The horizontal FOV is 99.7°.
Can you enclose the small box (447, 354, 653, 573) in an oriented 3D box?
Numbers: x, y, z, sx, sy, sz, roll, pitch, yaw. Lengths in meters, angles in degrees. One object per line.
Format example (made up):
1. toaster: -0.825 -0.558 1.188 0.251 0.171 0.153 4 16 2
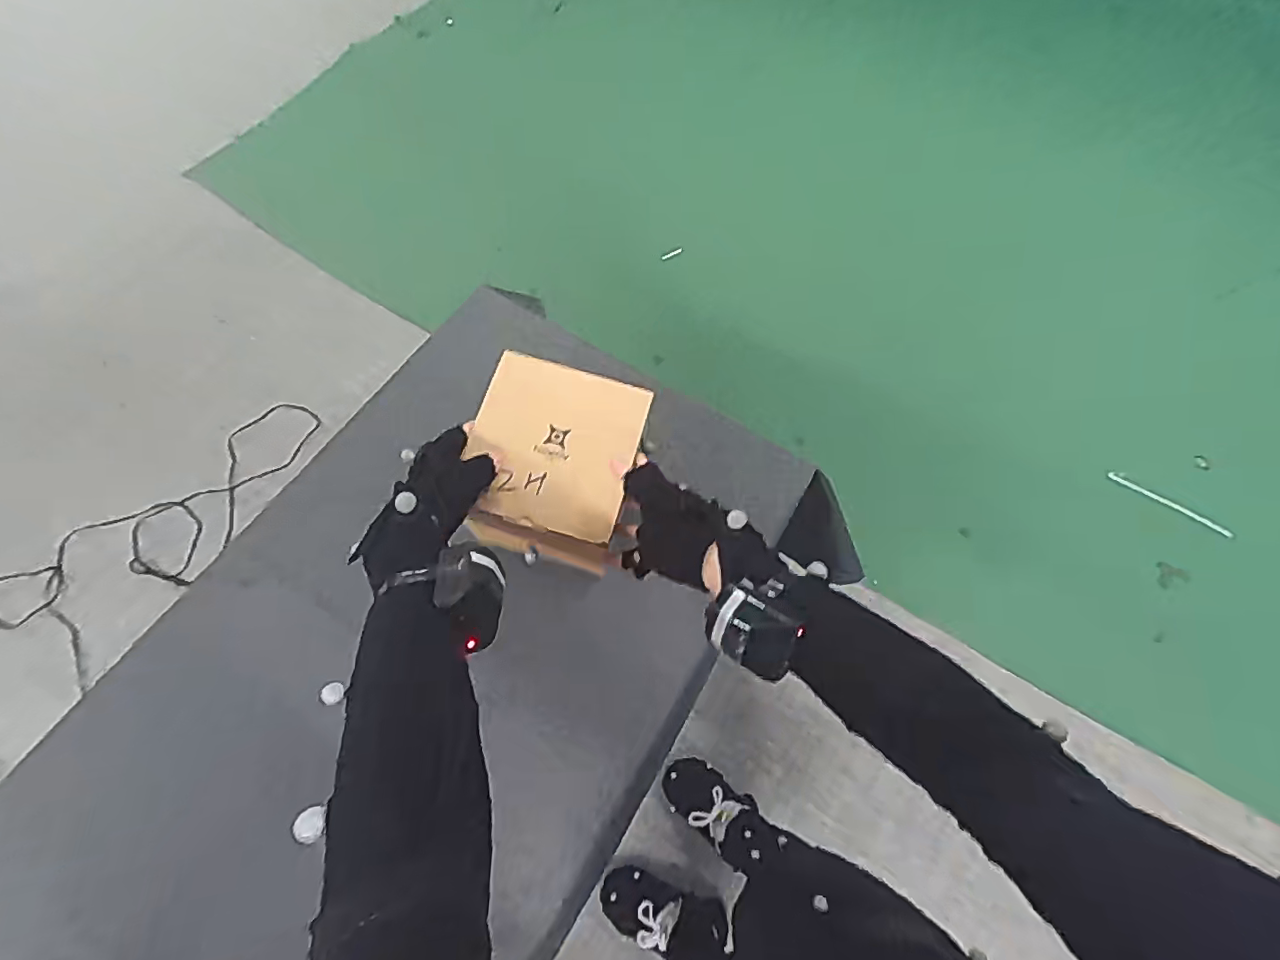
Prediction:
1. small box: -0.093 -0.009 0.620 0.168 0.176 0.179 16 70 2
